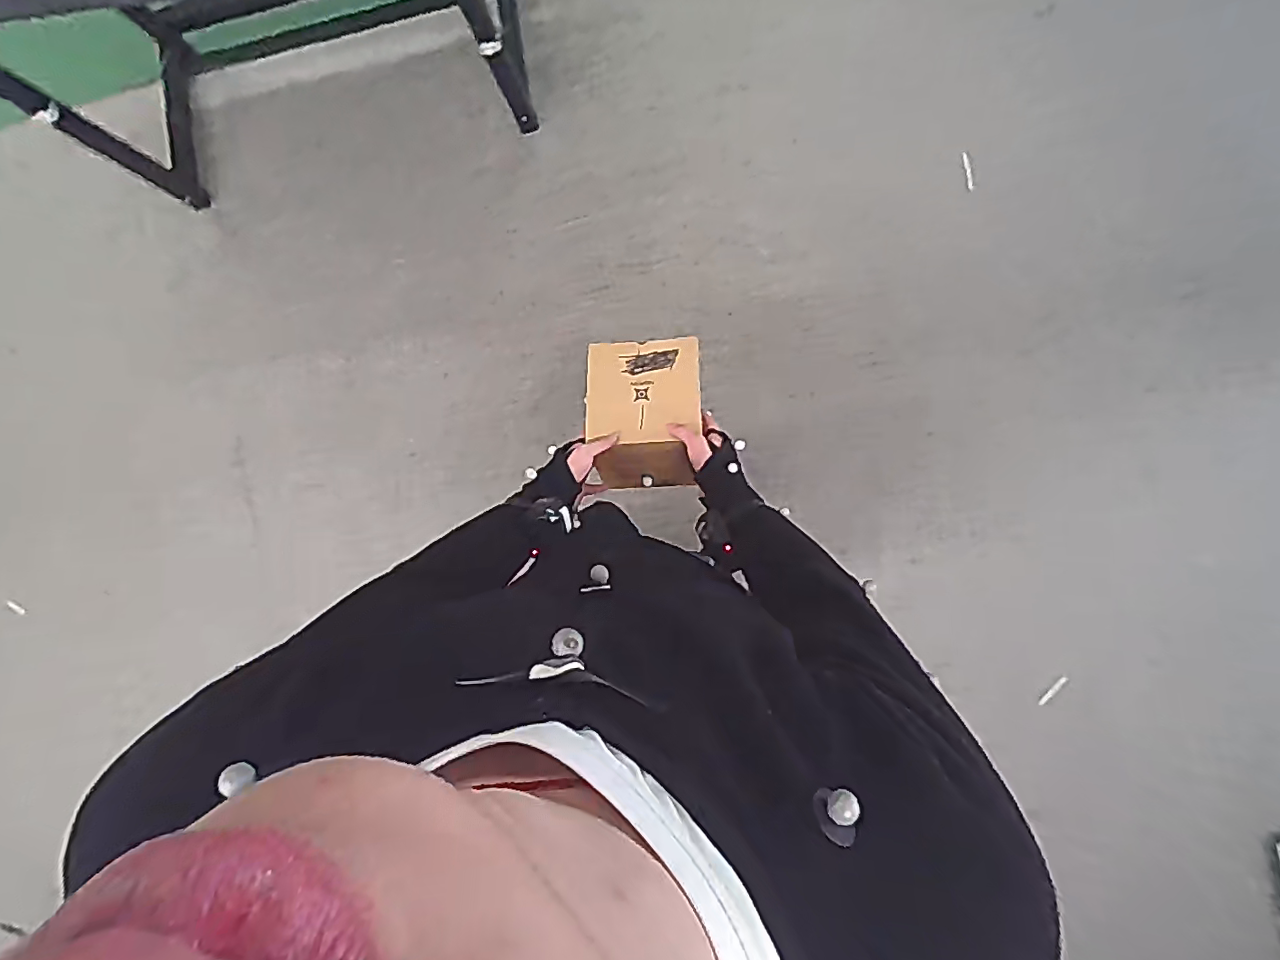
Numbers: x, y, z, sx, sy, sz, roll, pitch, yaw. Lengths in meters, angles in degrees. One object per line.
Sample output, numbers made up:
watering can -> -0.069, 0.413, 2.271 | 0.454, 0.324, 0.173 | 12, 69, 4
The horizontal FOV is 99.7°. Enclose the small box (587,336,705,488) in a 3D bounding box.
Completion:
small box -> 0.016, -0.101, 0.856 | 0.168, 0.176, 0.179 | -4, 67, 7

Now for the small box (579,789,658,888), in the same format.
small box -> -0.053, 0.962, 1.461 | 0.179, 0.176, 0.168 | -7, 87, 7
